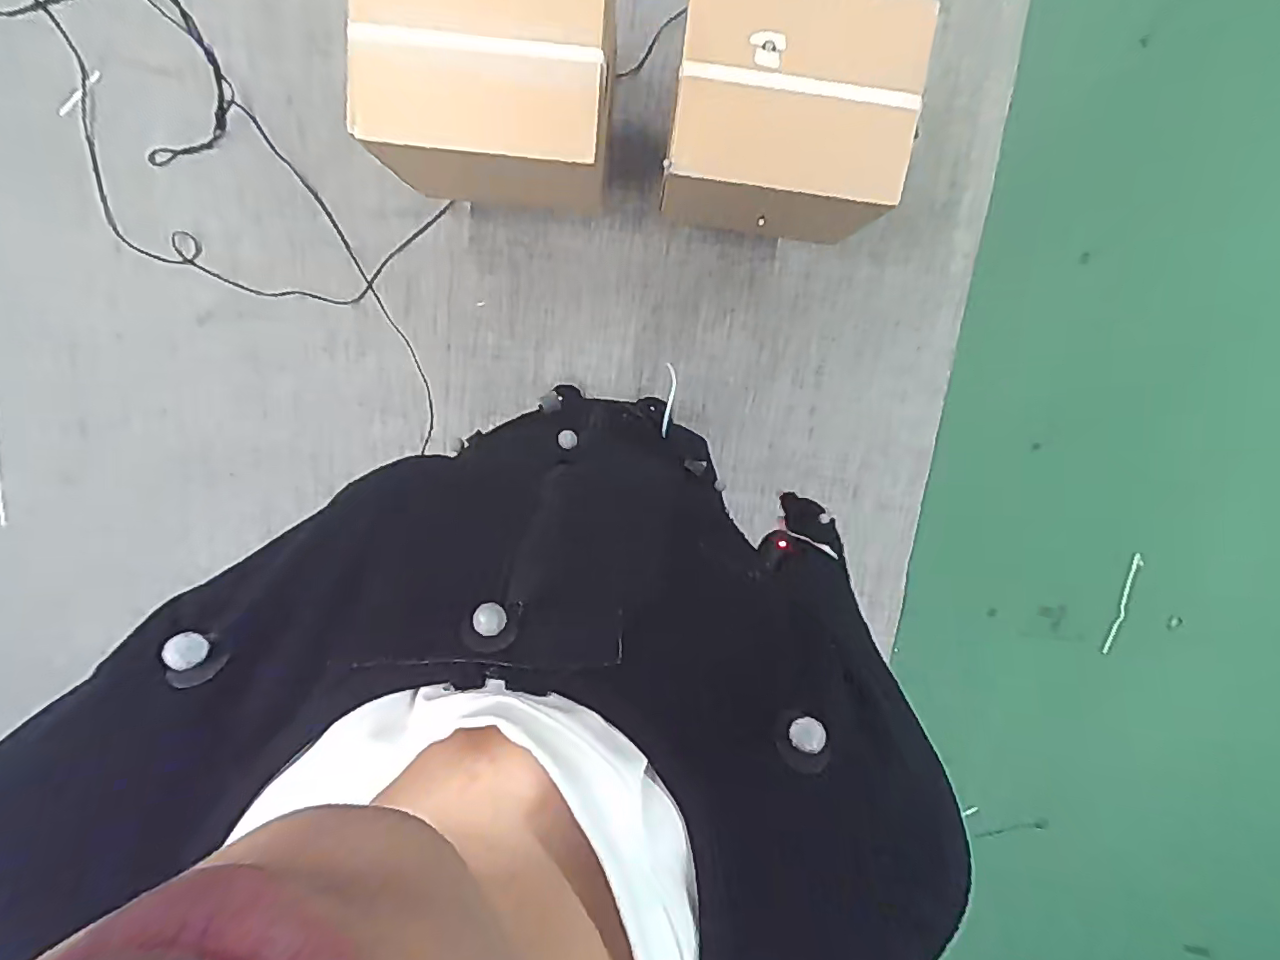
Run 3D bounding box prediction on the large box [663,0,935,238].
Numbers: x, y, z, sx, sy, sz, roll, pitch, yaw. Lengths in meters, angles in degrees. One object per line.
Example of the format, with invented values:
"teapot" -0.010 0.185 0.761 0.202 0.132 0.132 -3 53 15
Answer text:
"large box" 0.269 -0.684 1.050 0.408 0.320 0.320 8 101 -2
